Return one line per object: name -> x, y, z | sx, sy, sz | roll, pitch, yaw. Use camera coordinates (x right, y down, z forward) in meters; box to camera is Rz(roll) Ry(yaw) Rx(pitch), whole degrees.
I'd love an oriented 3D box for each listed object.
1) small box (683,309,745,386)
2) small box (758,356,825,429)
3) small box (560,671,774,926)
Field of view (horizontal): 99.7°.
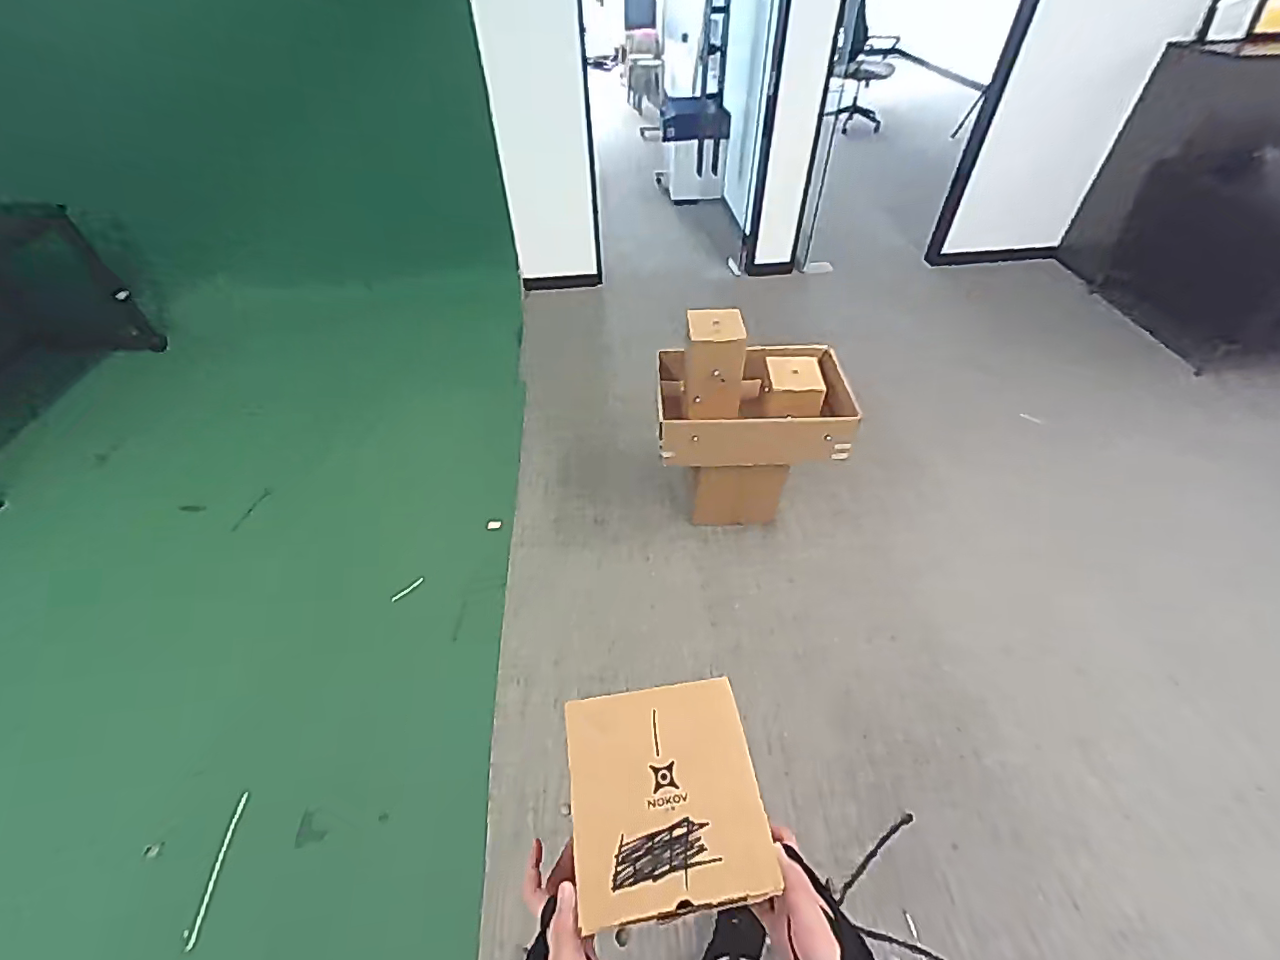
small box -> 0.223, -0.411, 1.677 | 0.168, 0.176, 0.179 | -2, 47, 0
small box -> 0.491, -0.288, 1.783 | 0.168, 0.176, 0.179 | 0, 48, 1
small box -> 0.014, 0.311, 0.528 | 0.168, 0.176, 0.179 | -5, 50, -7
